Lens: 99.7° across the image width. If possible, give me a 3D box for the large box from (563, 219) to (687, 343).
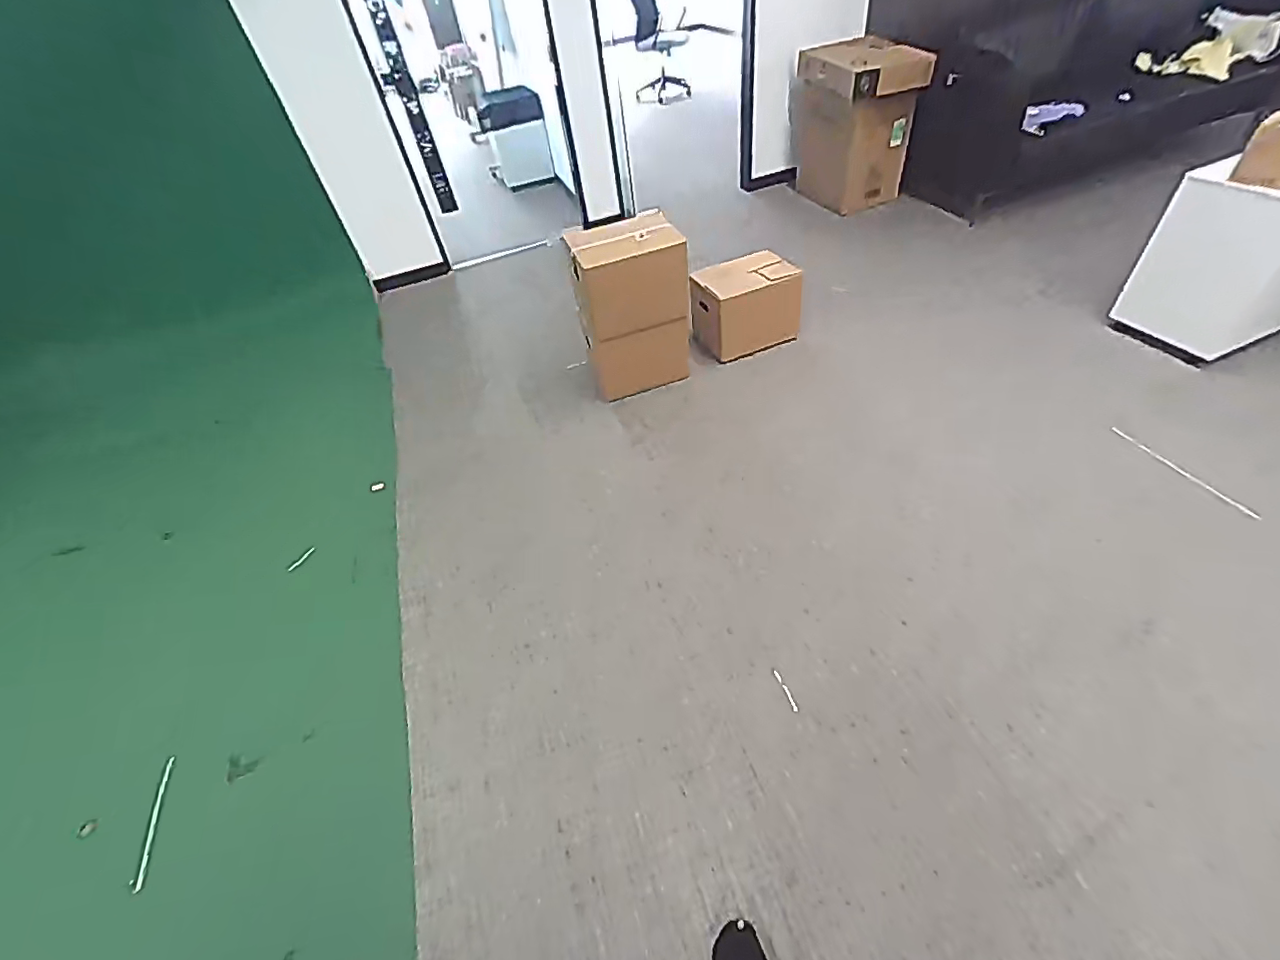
[{"bbox_3d":[-0.056,-0.796,2.161,0.408,0.320,0.320,-18,48,-9],"label":"large box"}]
